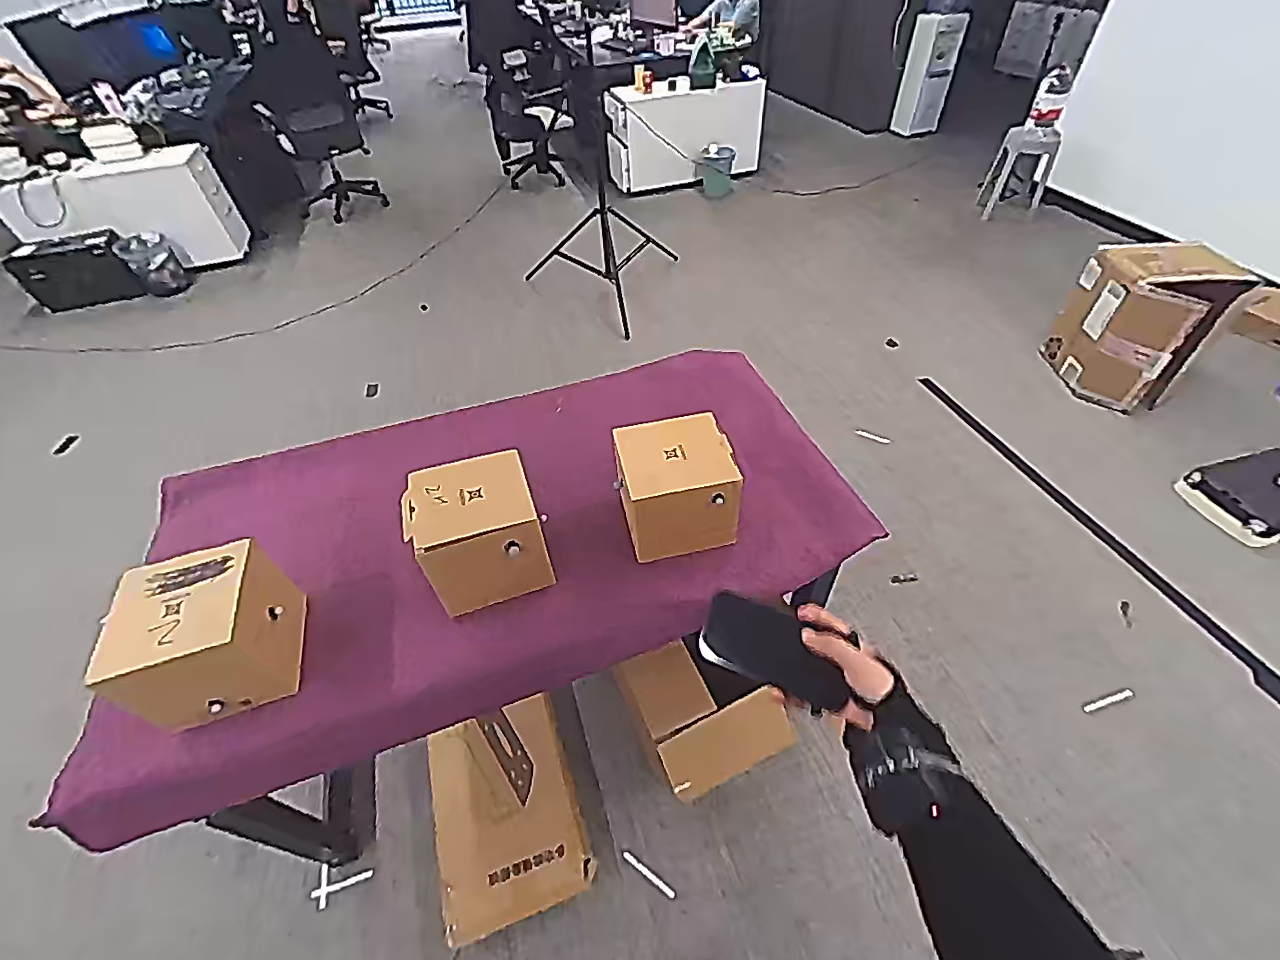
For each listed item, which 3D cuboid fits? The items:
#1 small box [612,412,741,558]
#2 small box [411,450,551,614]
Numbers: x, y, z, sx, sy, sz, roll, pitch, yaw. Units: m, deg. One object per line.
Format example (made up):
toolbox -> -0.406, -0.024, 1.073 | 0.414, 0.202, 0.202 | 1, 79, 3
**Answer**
small box -> 0.058, 0.012, 0.916 | 0.179, 0.176, 0.168 | -11, 47, -7
small box -> -0.249, 0.084, 0.868 | 0.179, 0.176, 0.168 | -17, 46, -11
